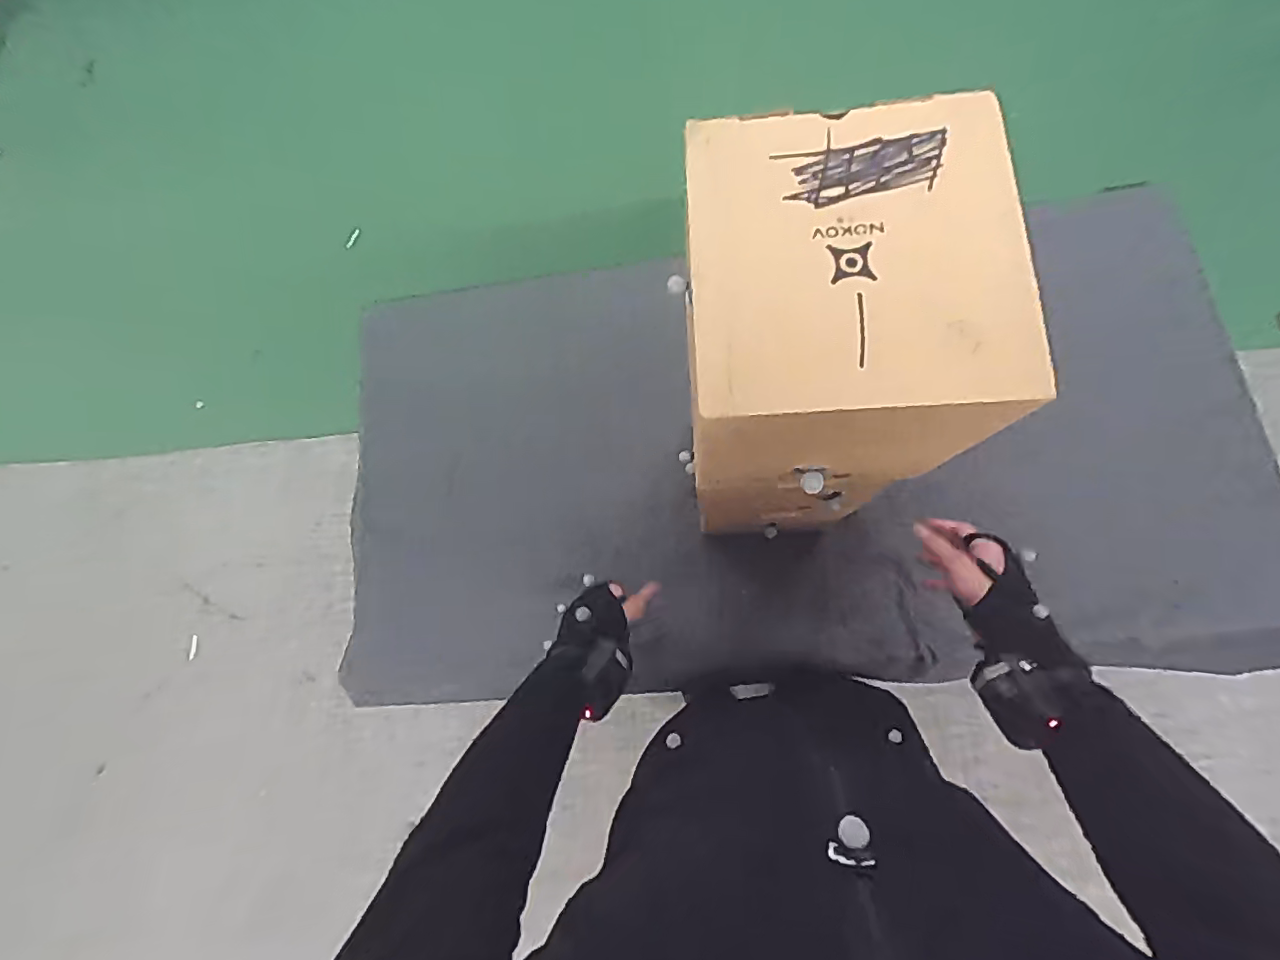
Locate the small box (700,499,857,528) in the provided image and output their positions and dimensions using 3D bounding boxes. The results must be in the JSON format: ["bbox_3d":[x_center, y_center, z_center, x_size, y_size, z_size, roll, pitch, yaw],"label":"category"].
[{"bbox_3d":[0.155,-0.033,0.666,0.168,0.176,0.179,-3,78,6],"label":"small box"}]

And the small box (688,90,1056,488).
[{"bbox_3d":[0.115,-0.098,0.348,0.168,0.176,0.179,-3,78,6],"label":"small box"}]

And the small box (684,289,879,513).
[{"bbox_3d":[0.132,-0.067,0.508,0.168,0.176,0.179,-4,76,6],"label":"small box"}]
